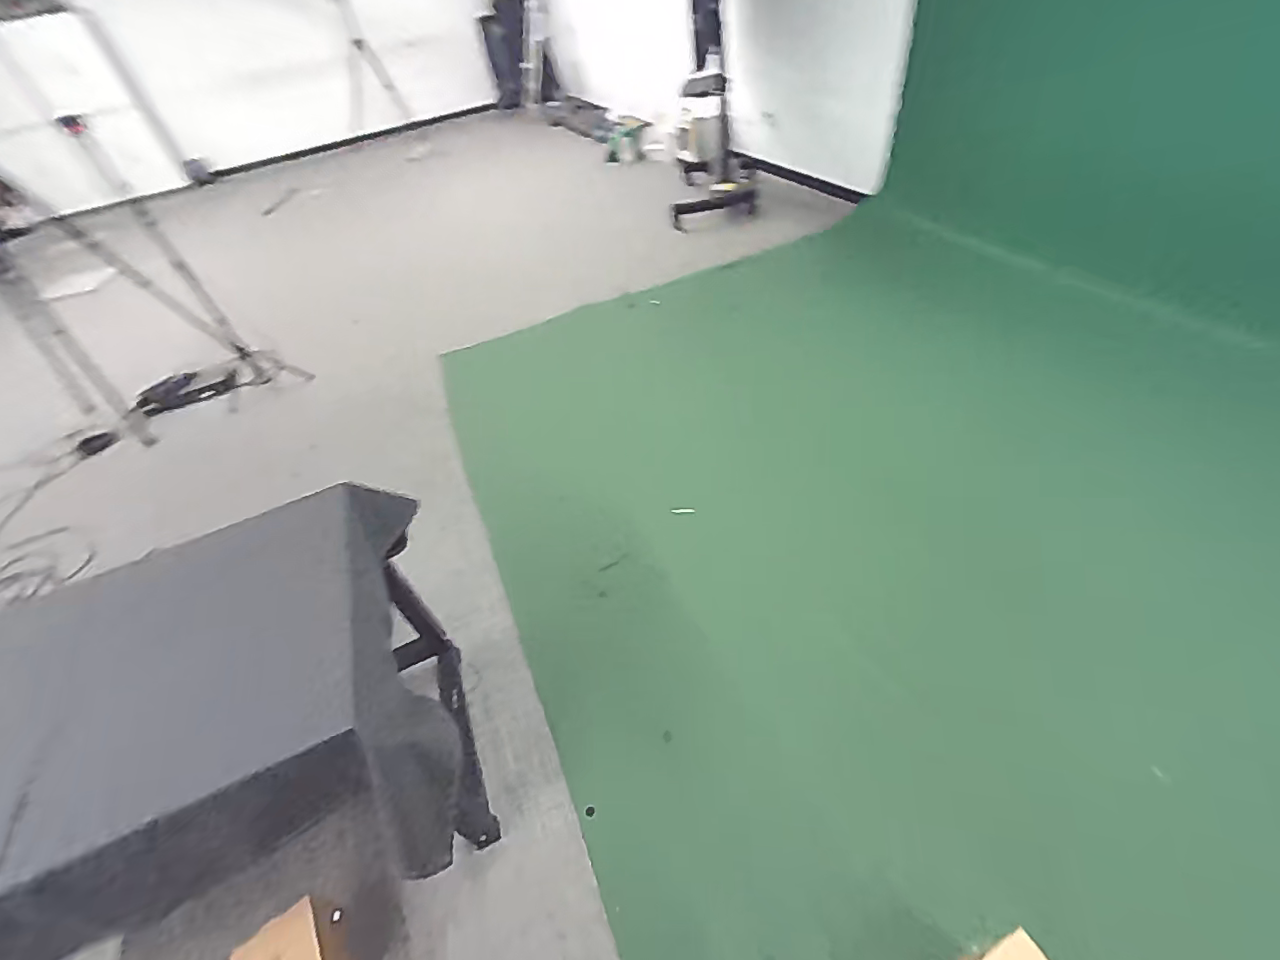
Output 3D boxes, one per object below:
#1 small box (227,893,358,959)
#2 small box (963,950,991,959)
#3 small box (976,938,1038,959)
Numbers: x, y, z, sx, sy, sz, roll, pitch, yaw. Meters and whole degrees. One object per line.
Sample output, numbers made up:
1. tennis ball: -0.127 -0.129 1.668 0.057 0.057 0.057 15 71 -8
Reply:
1. small box: -0.713 1.018 1.124 0.168 0.176 0.179 -31 47 -19
2. small box: 0.584 0.962 0.932 0.179 0.176 0.168 -24 46 -12
3. small box: 0.564 0.848 0.816 0.168 0.176 0.179 -24 46 -13
